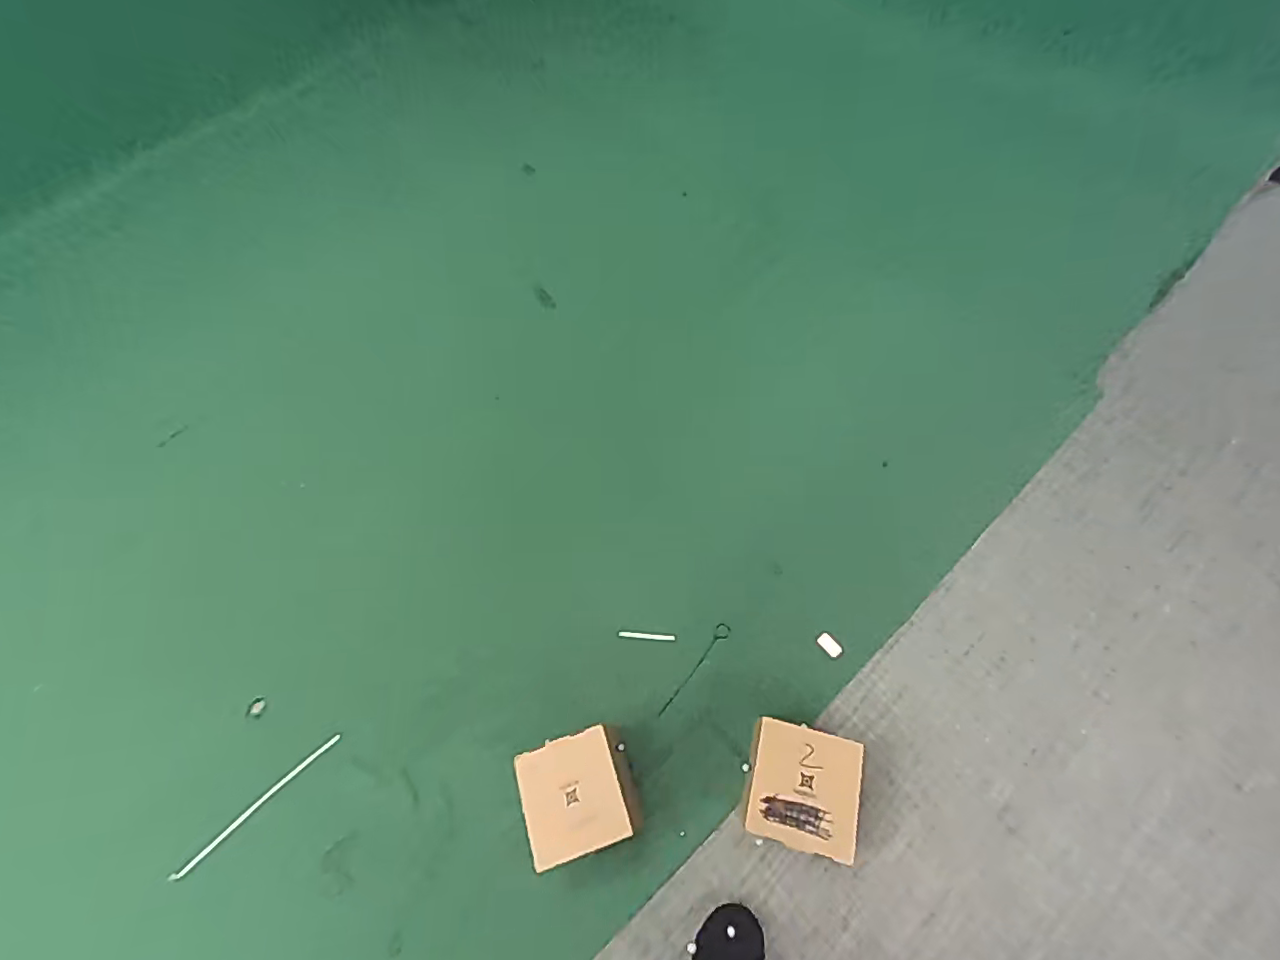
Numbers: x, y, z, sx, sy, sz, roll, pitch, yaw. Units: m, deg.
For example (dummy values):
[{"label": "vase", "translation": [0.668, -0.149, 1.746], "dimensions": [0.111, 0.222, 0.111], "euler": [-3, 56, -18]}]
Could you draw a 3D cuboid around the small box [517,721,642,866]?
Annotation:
[{"label": "small box", "translation": [-0.105, 0.558, 0.976], "dimensions": [0.168, 0.176, 0.179], "euler": [-20, 63, -2]}]
